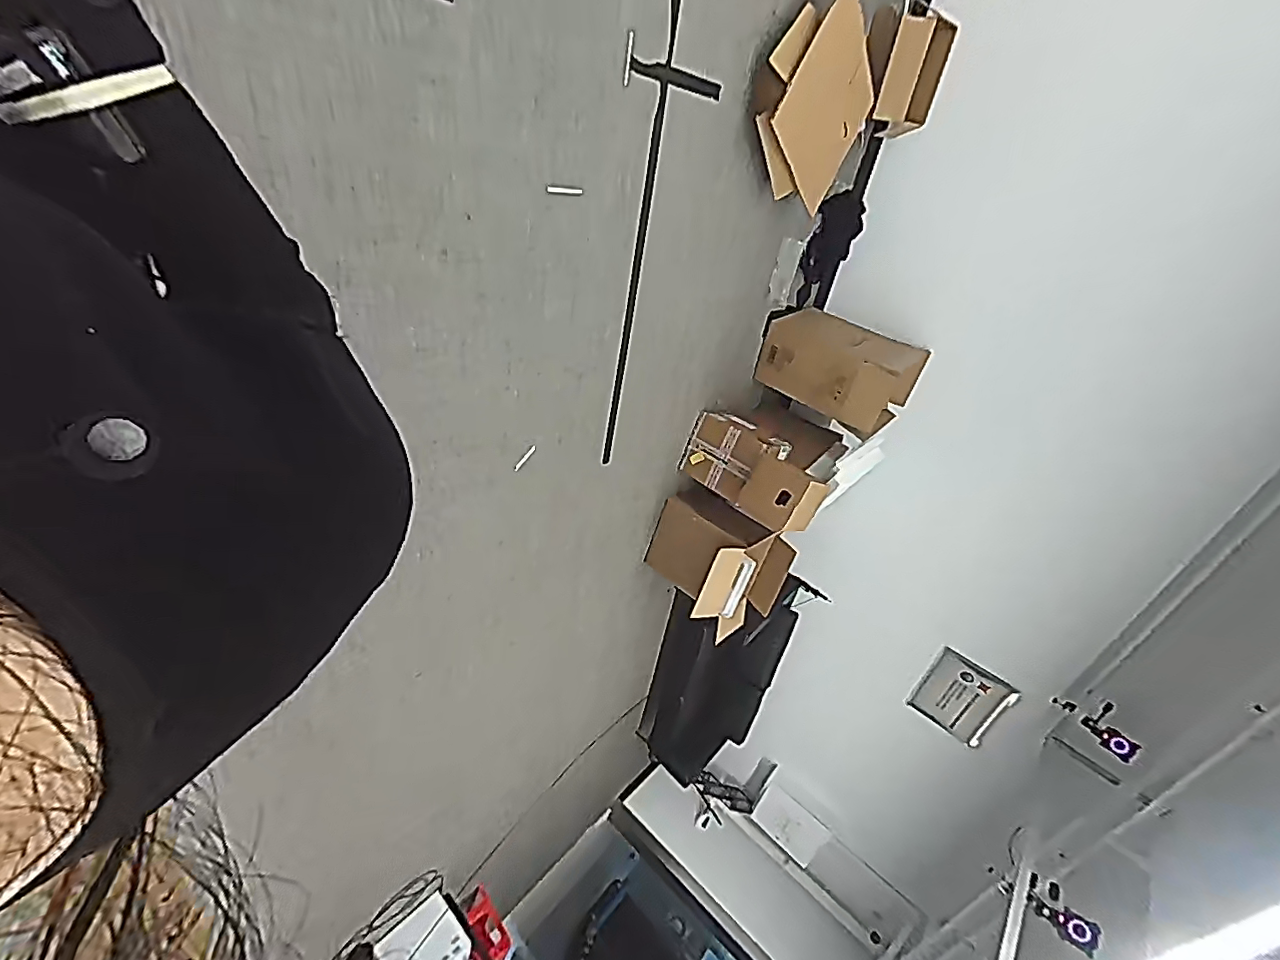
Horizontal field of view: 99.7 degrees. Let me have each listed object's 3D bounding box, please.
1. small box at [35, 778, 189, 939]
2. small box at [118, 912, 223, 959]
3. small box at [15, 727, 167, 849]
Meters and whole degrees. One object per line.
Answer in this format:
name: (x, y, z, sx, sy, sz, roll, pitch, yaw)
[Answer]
small box: (-1.046, 0.742, 1.076, 0.168, 0.176, 0.179, -26, 137, -43)
small box: (-0.802, 0.889, 0.912, 0.168, 0.176, 0.179, -24, 136, -45)
small box: (-1.170, 0.675, 1.157, 0.179, 0.176, 0.168, -26, 137, -42)
